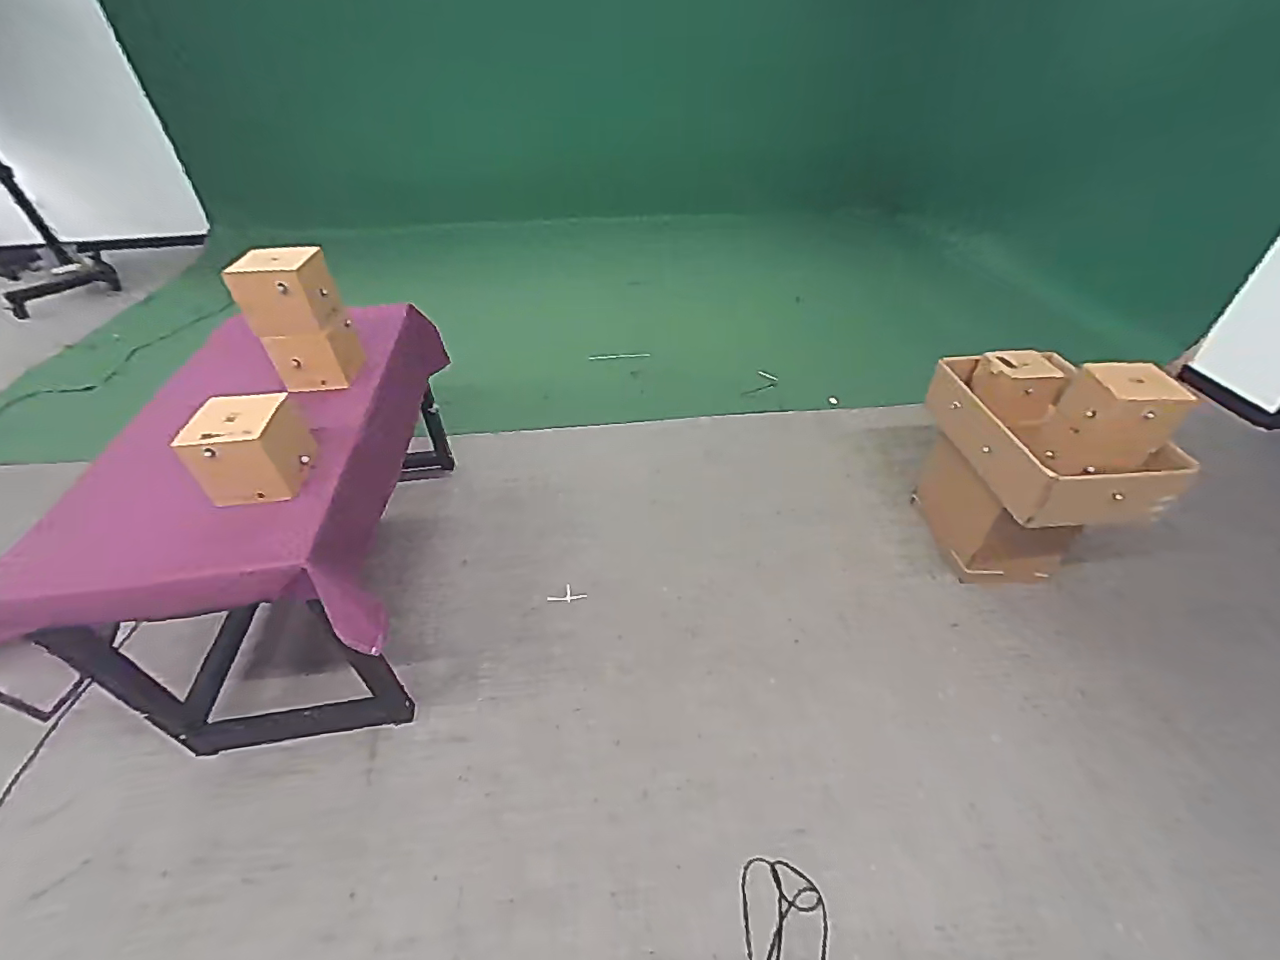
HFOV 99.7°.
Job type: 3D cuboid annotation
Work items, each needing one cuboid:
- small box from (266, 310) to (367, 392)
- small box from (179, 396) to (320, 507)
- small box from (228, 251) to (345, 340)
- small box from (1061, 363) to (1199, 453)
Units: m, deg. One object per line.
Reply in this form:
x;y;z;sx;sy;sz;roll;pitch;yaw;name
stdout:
-0.895;-0.357;1.520;0.168;0.176;0.179;-5;41;-3;small box
-0.835;-0.063;1.181;0.168;0.176;0.179;-6;41;-3;small box
-0.906;-0.480;1.411;0.179;0.176;0.168;-4;41;-1;small box
1.216;-0.181;1.366;0.179;0.176;0.168;1;43;2;small box
